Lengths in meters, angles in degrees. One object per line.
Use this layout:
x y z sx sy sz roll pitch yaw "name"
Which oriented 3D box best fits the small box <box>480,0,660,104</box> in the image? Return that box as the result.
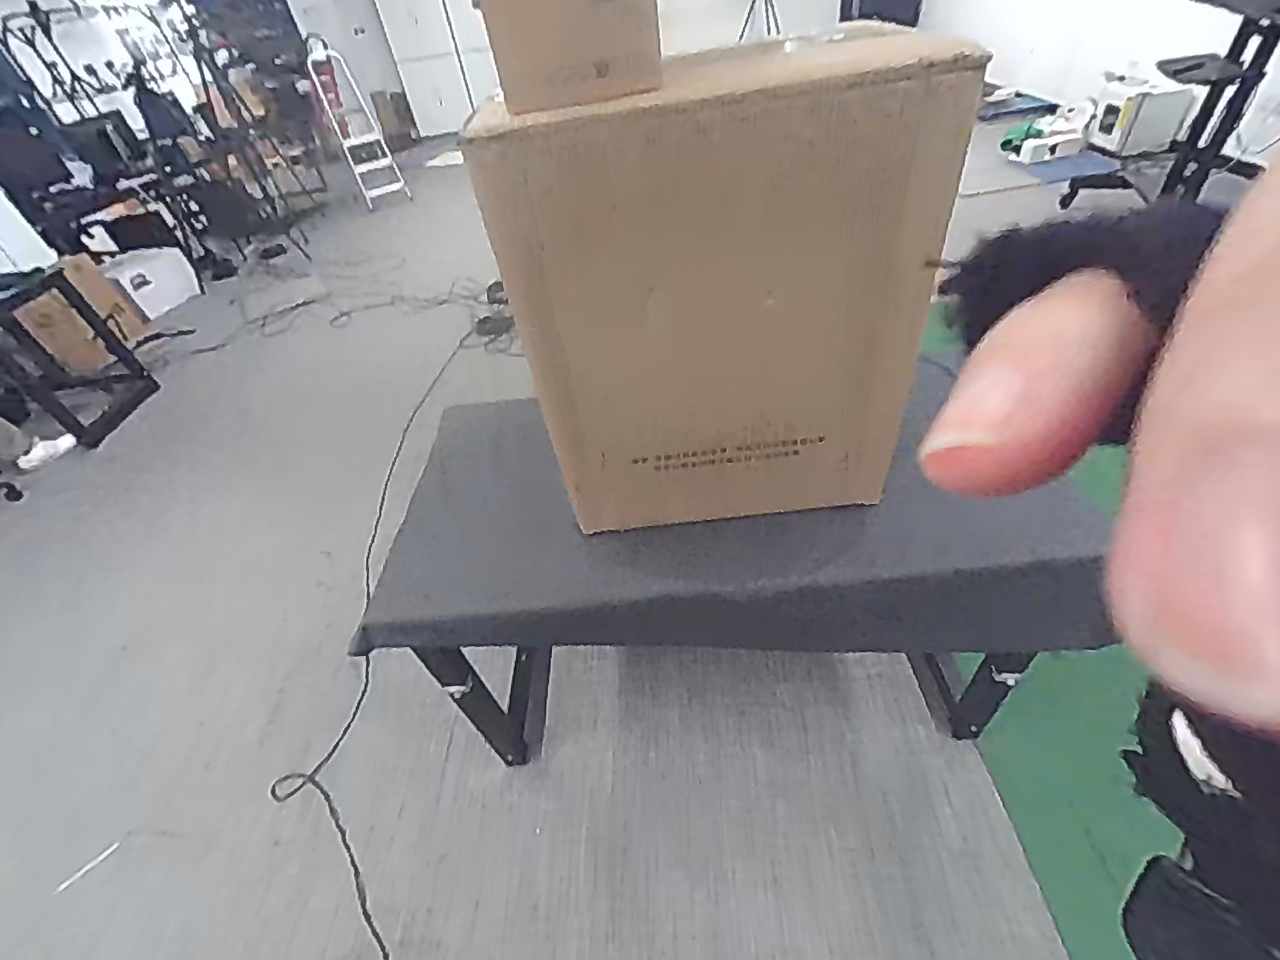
-0.077 -0.513 0.560 0.168 0.176 0.179 -11 46 1 "small box"
